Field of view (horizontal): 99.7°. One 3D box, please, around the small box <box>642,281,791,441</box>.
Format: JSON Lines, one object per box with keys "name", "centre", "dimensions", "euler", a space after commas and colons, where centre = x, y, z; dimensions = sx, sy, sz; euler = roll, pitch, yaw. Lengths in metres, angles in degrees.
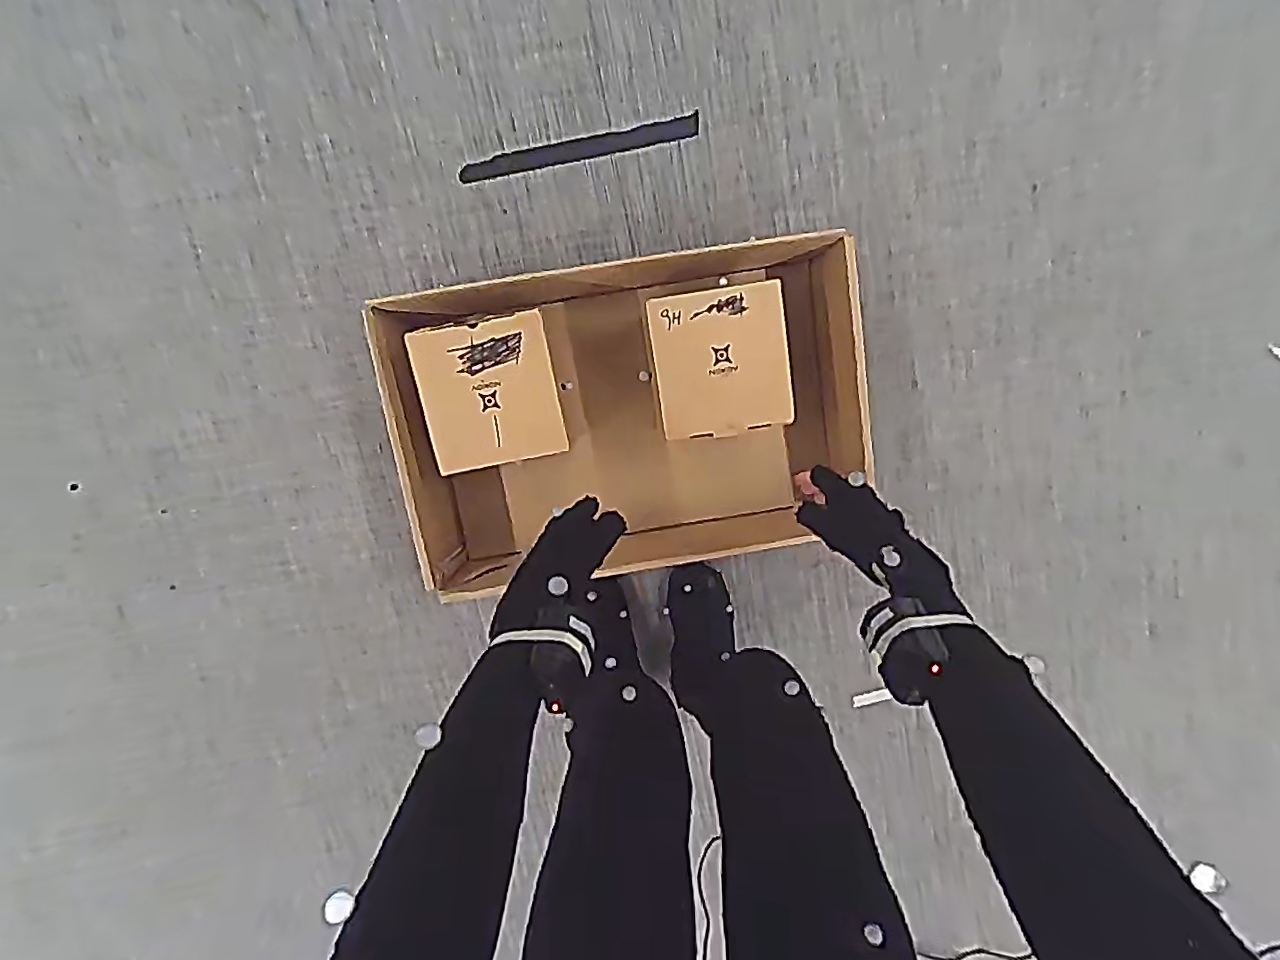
{"name": "small box", "centre": [0.096, -0.160, 0.737], "dimensions": [0.168, 0.176, 0.179], "euler": [-9, 101, -1]}
